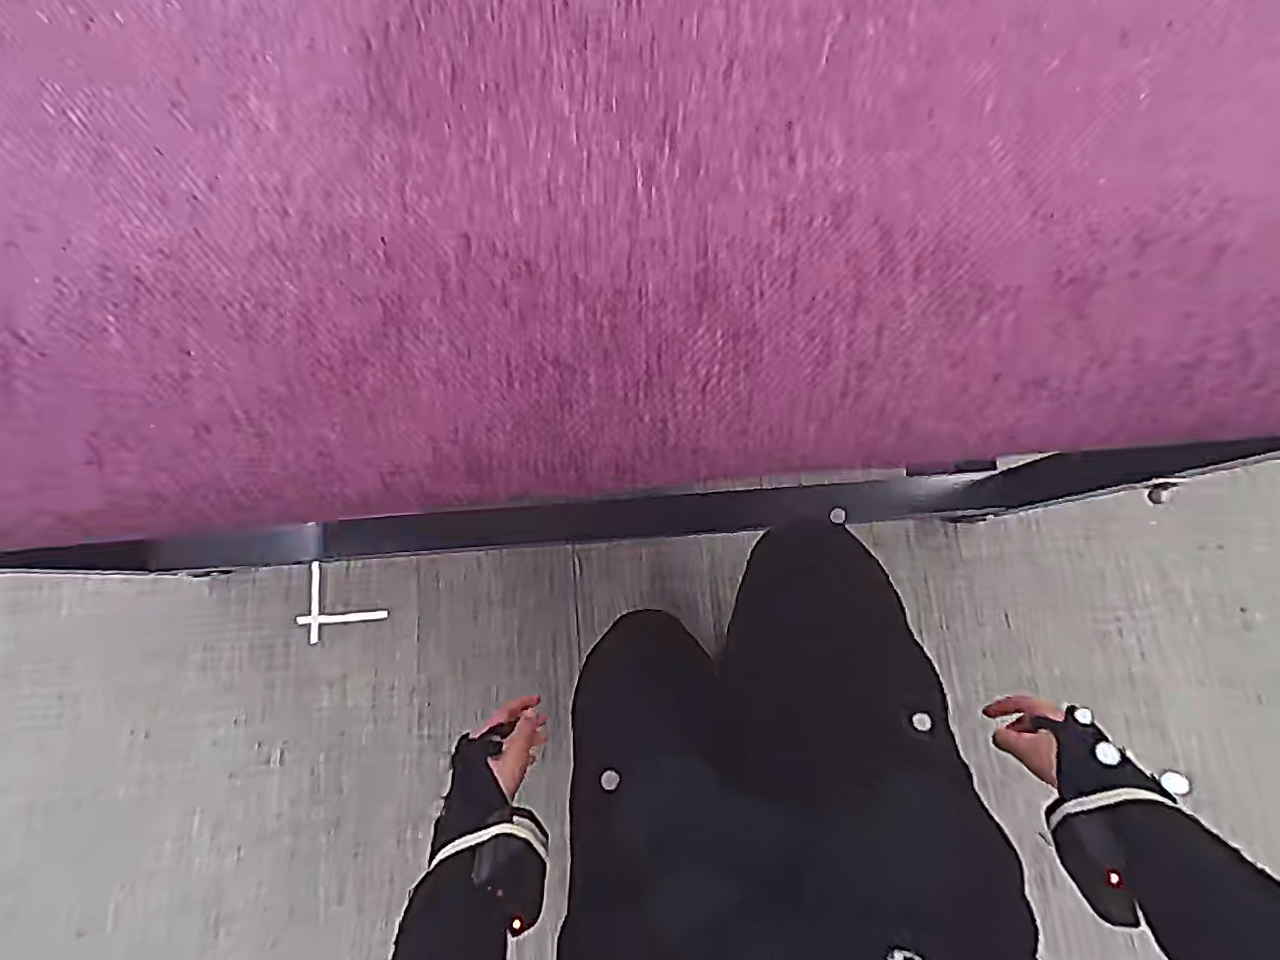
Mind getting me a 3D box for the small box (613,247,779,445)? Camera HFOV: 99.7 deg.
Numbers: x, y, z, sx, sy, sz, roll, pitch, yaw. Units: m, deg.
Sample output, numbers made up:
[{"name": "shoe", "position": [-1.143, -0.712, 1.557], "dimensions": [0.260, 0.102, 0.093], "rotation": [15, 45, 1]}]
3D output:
[{"name": "small box", "position": [0.059, -0.151, 0.657], "dimensions": [0.168, 0.176, 0.179], "rotation": [-6, 82, 1]}]
